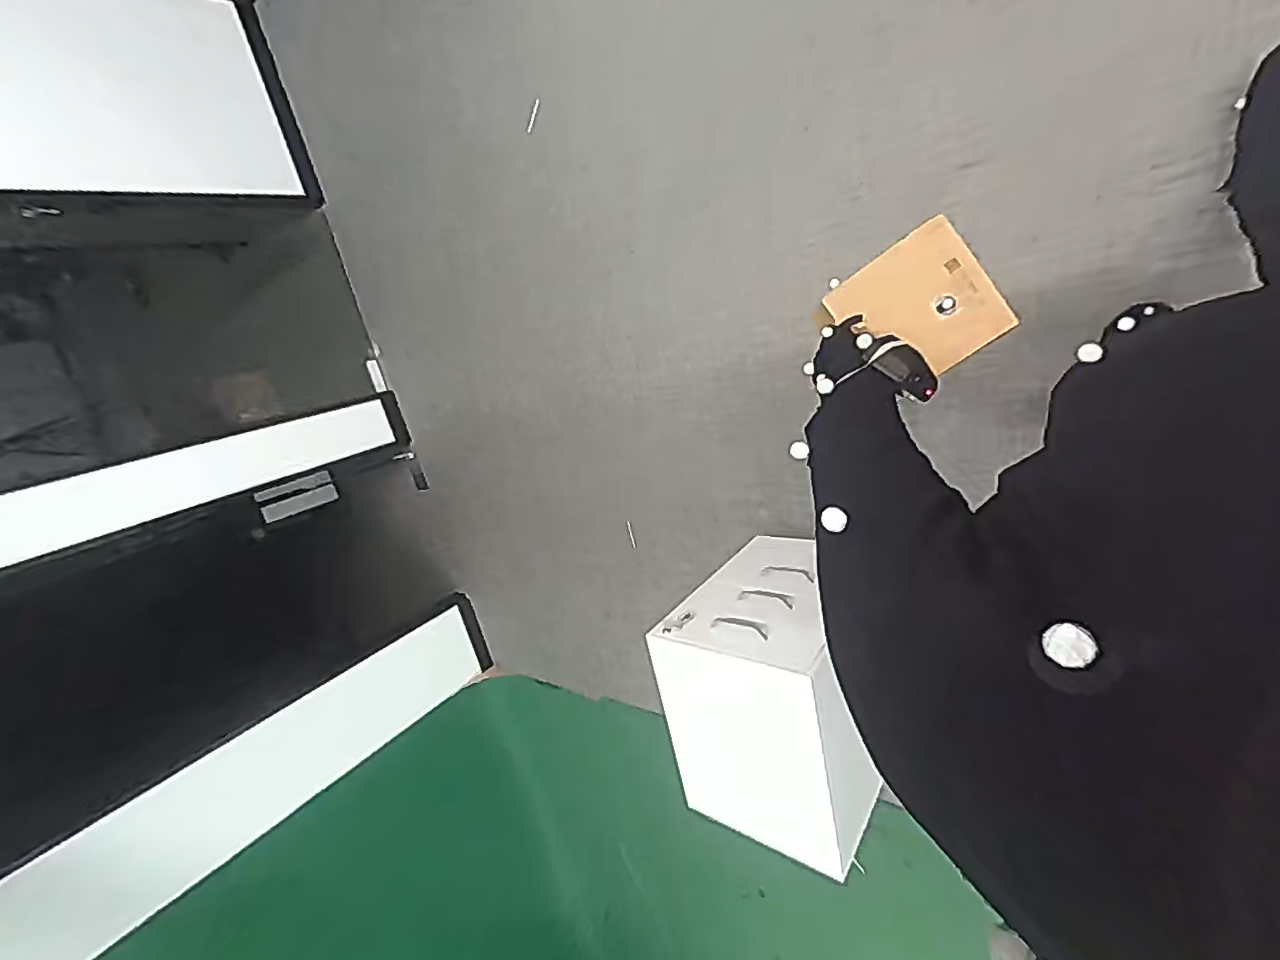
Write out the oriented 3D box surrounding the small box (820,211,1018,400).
[{"bbox_3d":[0.370,-0.229,0.742,0.176,0.179,0.168,-35,90,18],"label":"small box"}]
